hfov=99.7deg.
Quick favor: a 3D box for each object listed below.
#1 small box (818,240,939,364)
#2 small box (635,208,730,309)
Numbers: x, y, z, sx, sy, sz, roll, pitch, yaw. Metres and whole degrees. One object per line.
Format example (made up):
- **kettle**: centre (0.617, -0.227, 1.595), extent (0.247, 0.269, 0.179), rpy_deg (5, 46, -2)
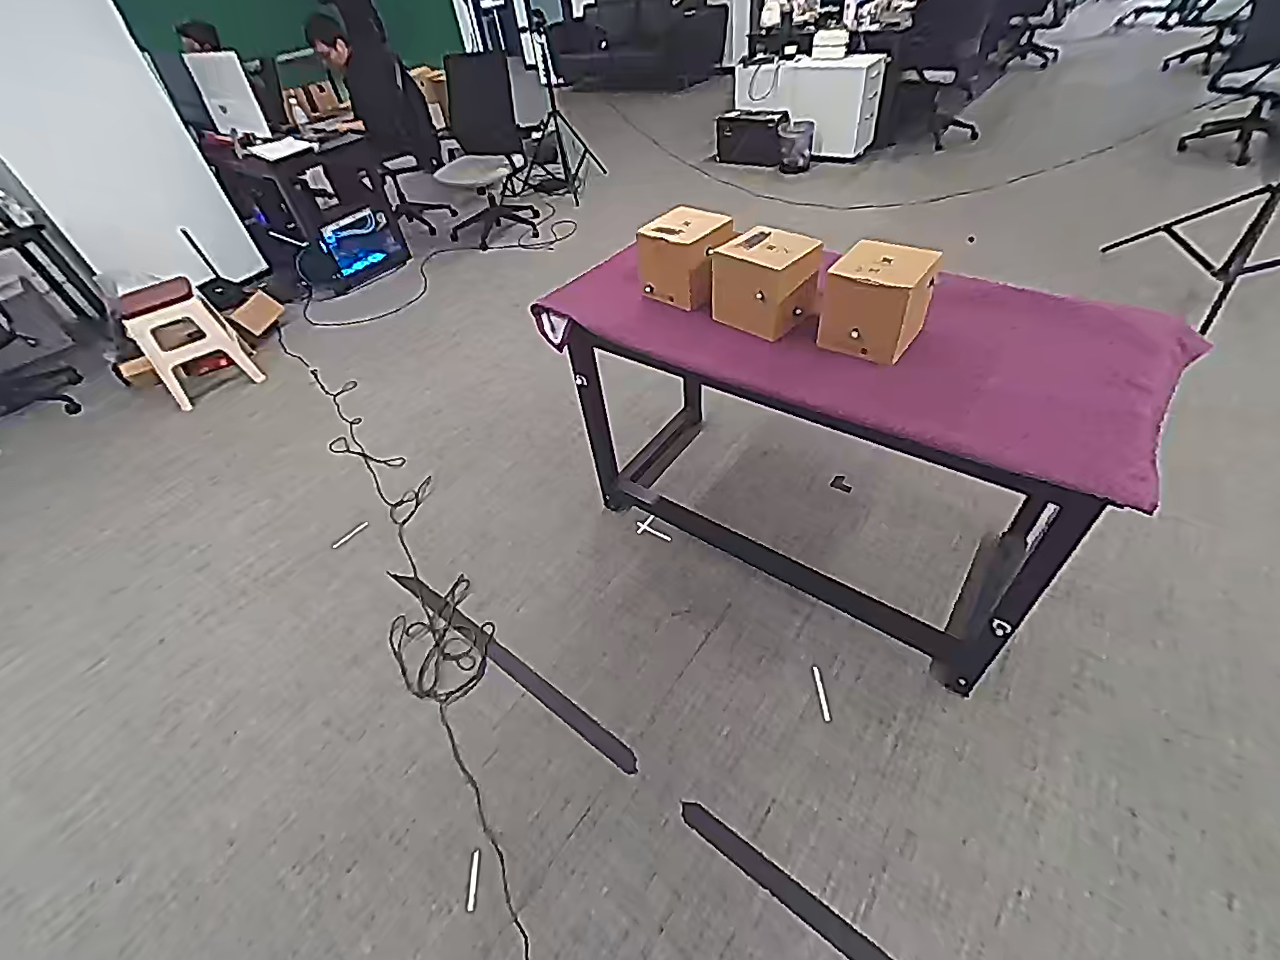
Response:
- **small box**: centre (0.484, -0.369, 1.119), extent (0.168, 0.176, 0.179), rpy_deg (26, 54, 30)
- **small box**: centre (0.111, -0.553, 1.355), extent (0.168, 0.176, 0.179), rpy_deg (31, 57, 32)
